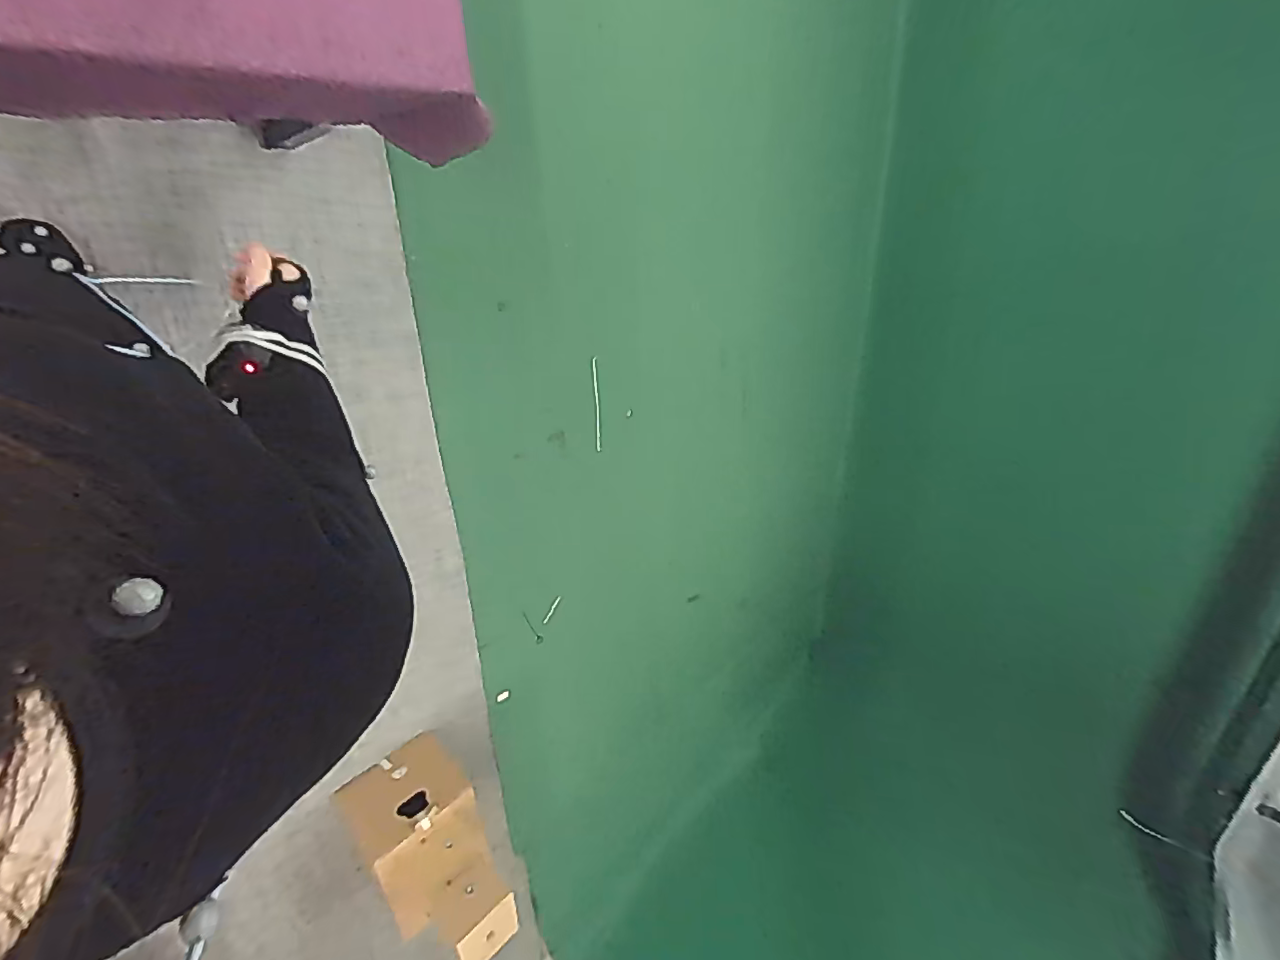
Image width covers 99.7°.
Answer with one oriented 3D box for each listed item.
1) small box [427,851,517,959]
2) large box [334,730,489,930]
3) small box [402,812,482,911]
[{"bbox_3d":[-0.459,1.164,1.474,0.168,0.176,0.179,-24,123,-41],"label":"small box"},{"bbox_3d":[-0.742,1.130,1.780,0.320,0.320,0.408,-26,125,-41],"label":"large box"},{"bbox_3d":[-0.574,1.120,1.583,0.168,0.176,0.179,-24,123,-42],"label":"small box"}]
